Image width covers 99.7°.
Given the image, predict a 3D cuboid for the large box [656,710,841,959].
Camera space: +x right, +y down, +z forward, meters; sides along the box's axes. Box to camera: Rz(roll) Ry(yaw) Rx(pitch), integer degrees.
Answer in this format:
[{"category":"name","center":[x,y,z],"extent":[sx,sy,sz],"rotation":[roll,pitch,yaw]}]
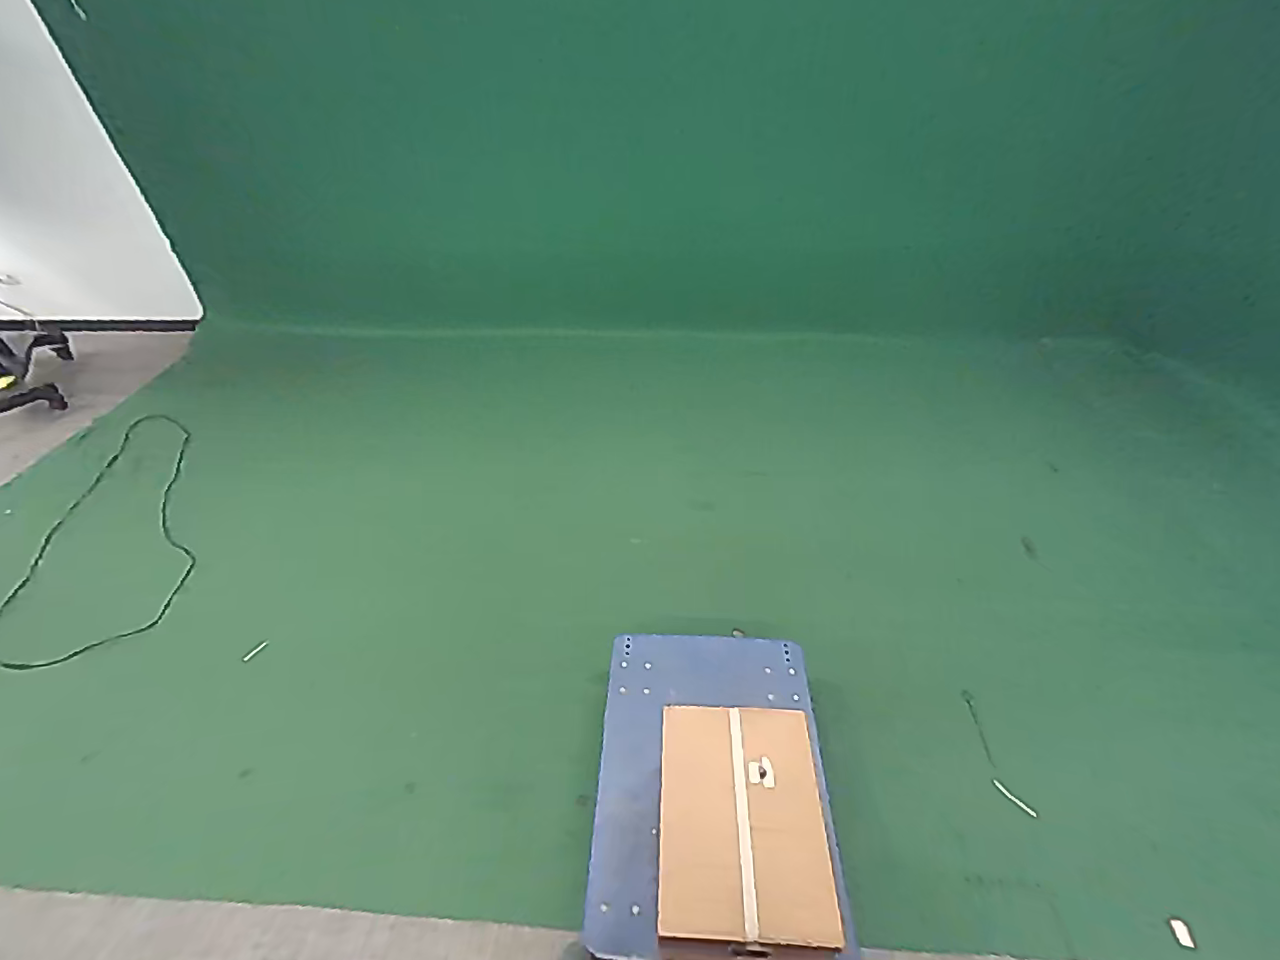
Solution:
[{"category":"large box","center":[0.193,0.757,1.146],"extent":[0.320,0.320,0.408],"rotation":[1,40,2]}]
